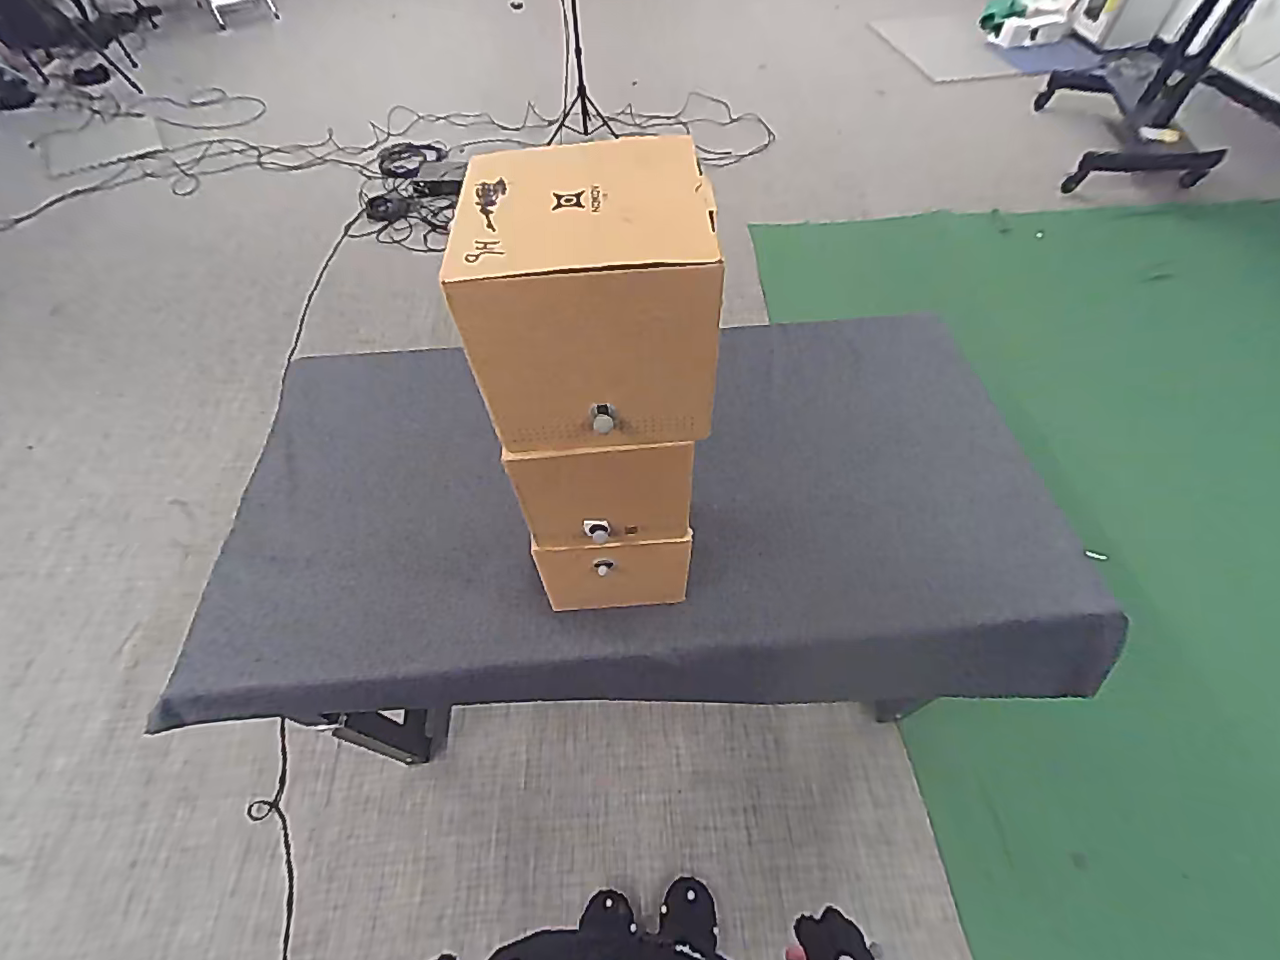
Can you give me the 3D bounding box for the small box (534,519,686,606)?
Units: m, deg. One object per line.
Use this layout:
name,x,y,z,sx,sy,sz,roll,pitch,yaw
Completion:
small box,-0.036,0.059,0.717,0.179,0.176,0.168,-3,55,-2

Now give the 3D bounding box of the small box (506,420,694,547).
small box,-0.039,-0.049,0.576,0.168,0.176,0.179,-6,56,-1

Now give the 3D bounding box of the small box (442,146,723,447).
small box,-0.037,-0.142,0.441,0.179,0.176,0.168,-4,54,0
